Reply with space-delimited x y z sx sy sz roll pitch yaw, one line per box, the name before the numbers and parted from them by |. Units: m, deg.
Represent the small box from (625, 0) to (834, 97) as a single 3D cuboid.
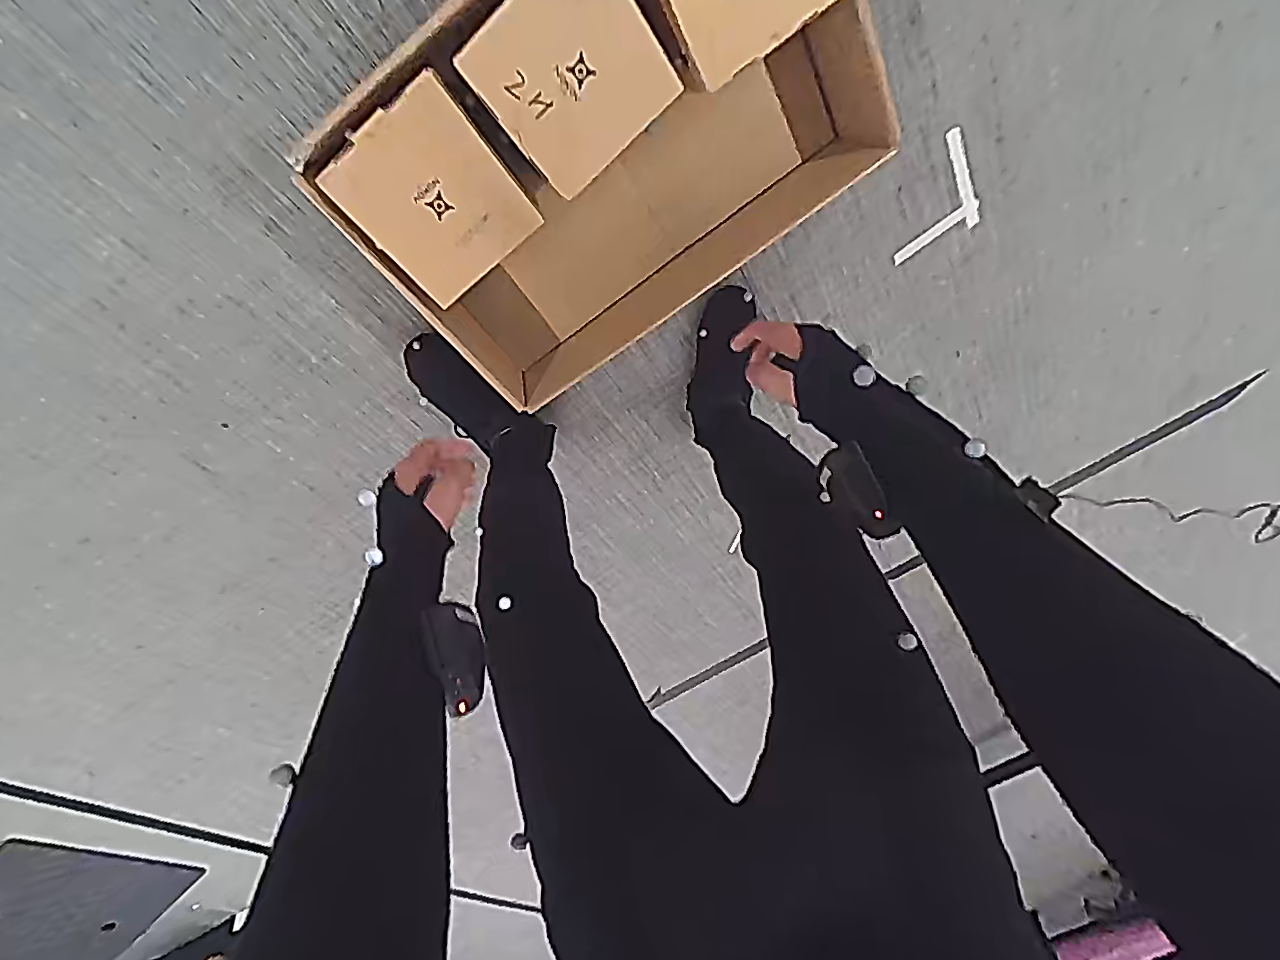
small box | 0.075 -0.554 0.581 0.168 0.176 0.179 -32 129 11
